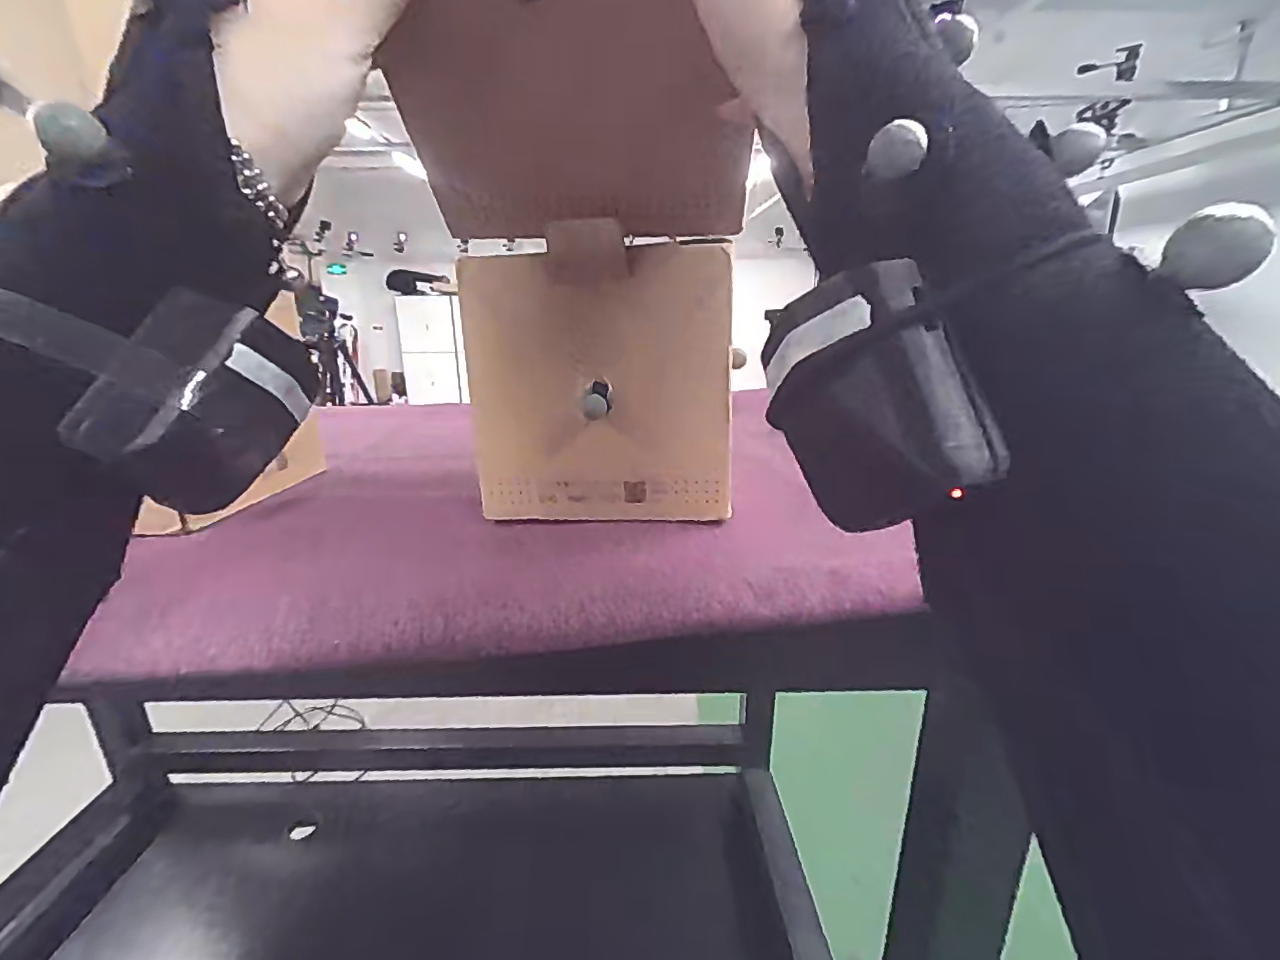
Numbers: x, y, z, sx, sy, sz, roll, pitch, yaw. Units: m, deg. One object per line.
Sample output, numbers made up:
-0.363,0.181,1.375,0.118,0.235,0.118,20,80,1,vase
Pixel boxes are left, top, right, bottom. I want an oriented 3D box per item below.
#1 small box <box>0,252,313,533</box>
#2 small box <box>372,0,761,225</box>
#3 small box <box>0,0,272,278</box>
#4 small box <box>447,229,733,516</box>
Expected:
-0.380,-0.065,0.396,0.179,0.176,0.168,-1,16,-1,small box
-0.029,-0.255,0.278,0.179,0.176,0.168,1,61,4,small box
-0.376,-0.221,0.351,0.168,0.176,0.179,0,15,-3,small box
-0.018,-0.076,0.402,0.168,0.176,0.179,-1,16,6,small box
